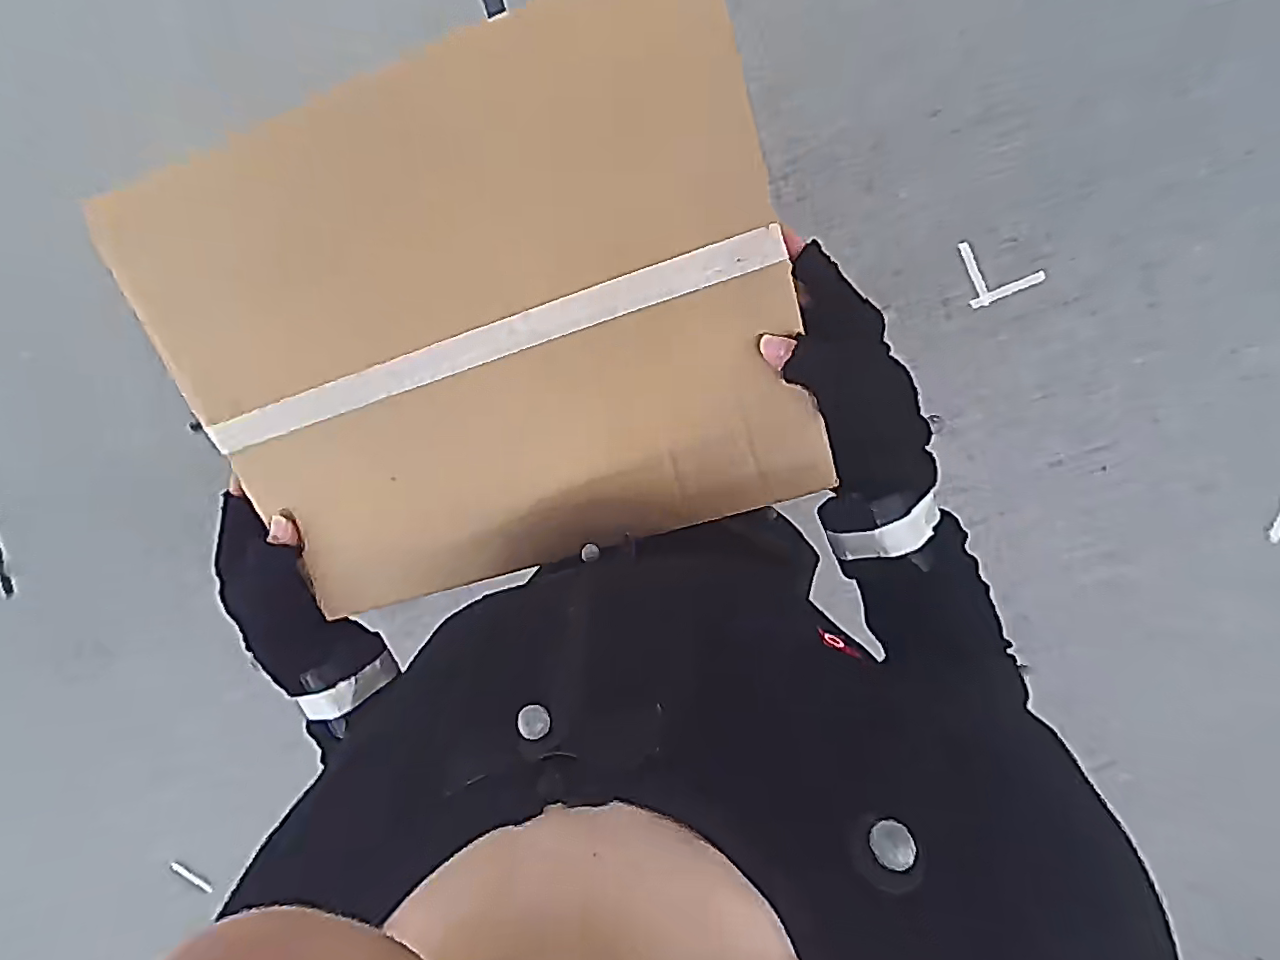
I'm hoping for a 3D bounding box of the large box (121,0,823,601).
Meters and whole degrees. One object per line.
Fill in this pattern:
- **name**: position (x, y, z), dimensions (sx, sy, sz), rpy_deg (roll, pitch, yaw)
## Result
- **large box**: position (-0.097, -0.141, 0.499), dimensions (0.408, 0.320, 0.320), rpy_deg (-16, 109, 10)
